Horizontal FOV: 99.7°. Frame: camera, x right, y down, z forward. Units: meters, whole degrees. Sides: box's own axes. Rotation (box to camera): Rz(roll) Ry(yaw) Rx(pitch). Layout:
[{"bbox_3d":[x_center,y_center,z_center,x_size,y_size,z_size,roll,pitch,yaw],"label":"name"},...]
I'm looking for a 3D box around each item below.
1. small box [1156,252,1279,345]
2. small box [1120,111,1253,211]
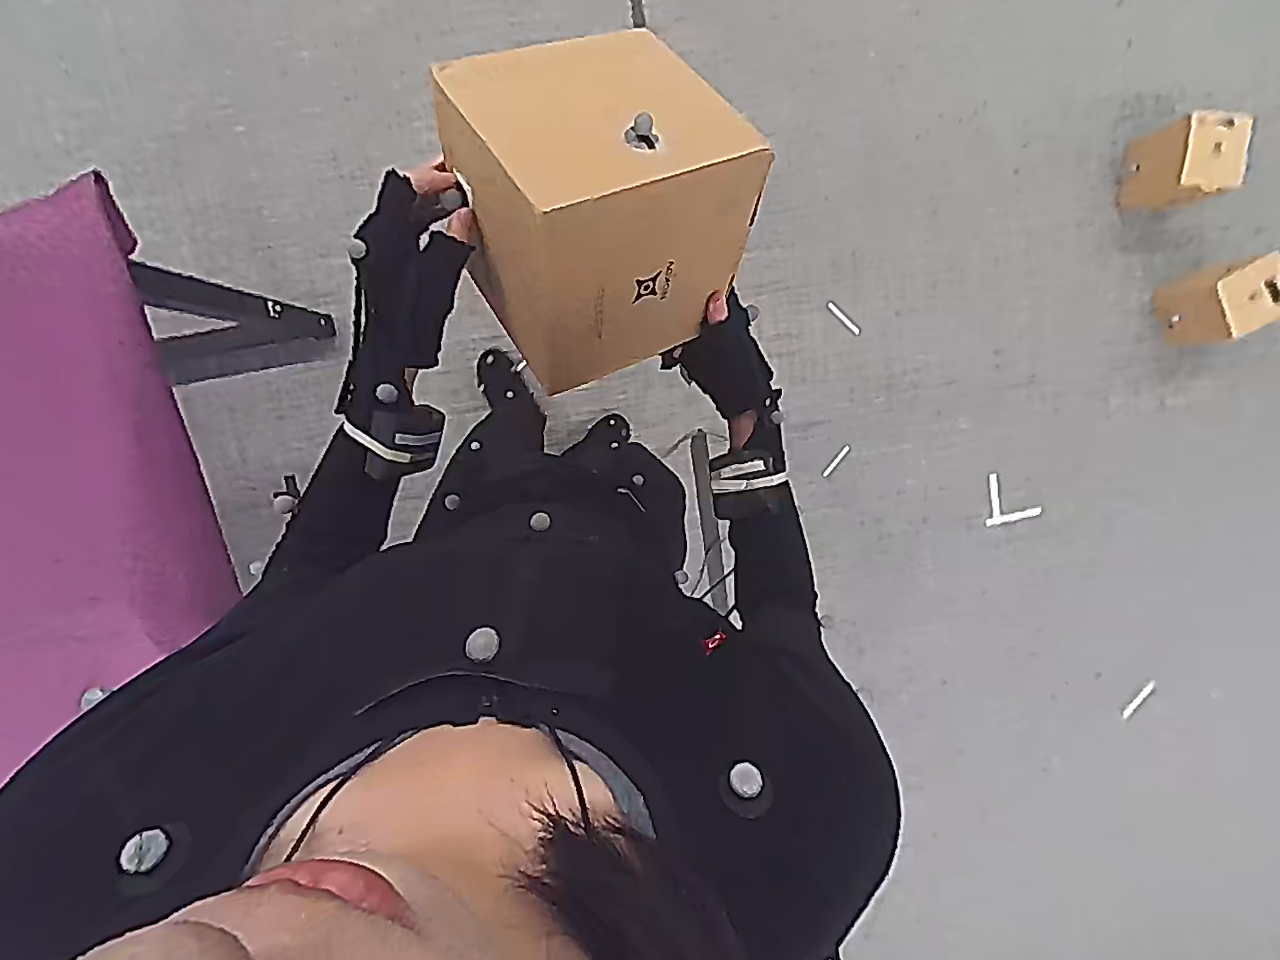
[{"bbox_3d":[1.584,-0.486,1.472,0.179,0.176,0.168,-29,99,1],"label":"small box"},{"bbox_3d":[1.415,-0.823,1.413,0.168,0.176,0.179,2,98,-5],"label":"small box"}]
